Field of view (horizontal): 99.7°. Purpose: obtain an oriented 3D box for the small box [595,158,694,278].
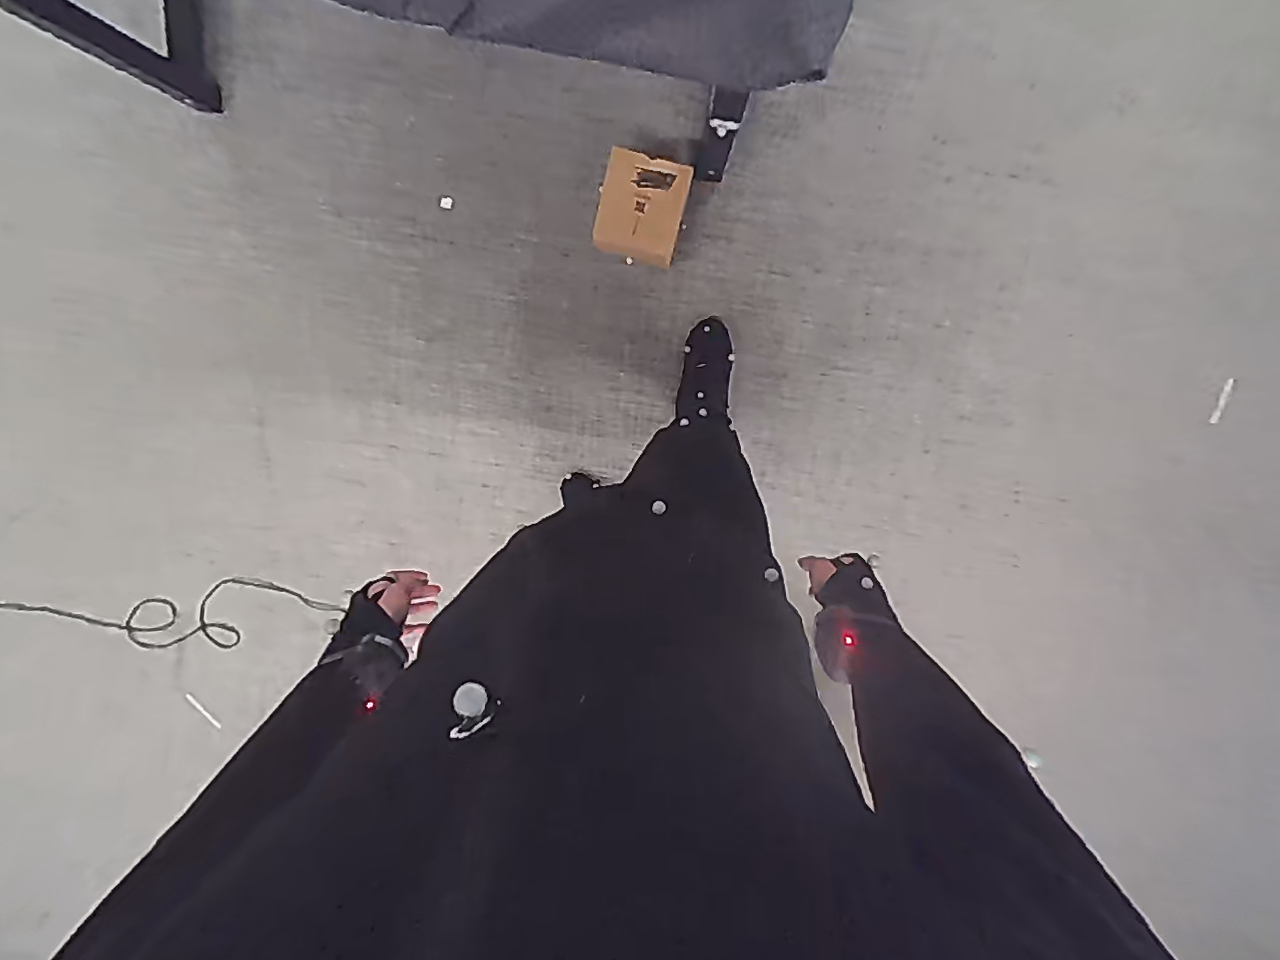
[{"bbox_3d":[0.011,-0.552,1.162,0.168,0.176,0.179,15,104,0],"label":"small box"}]
